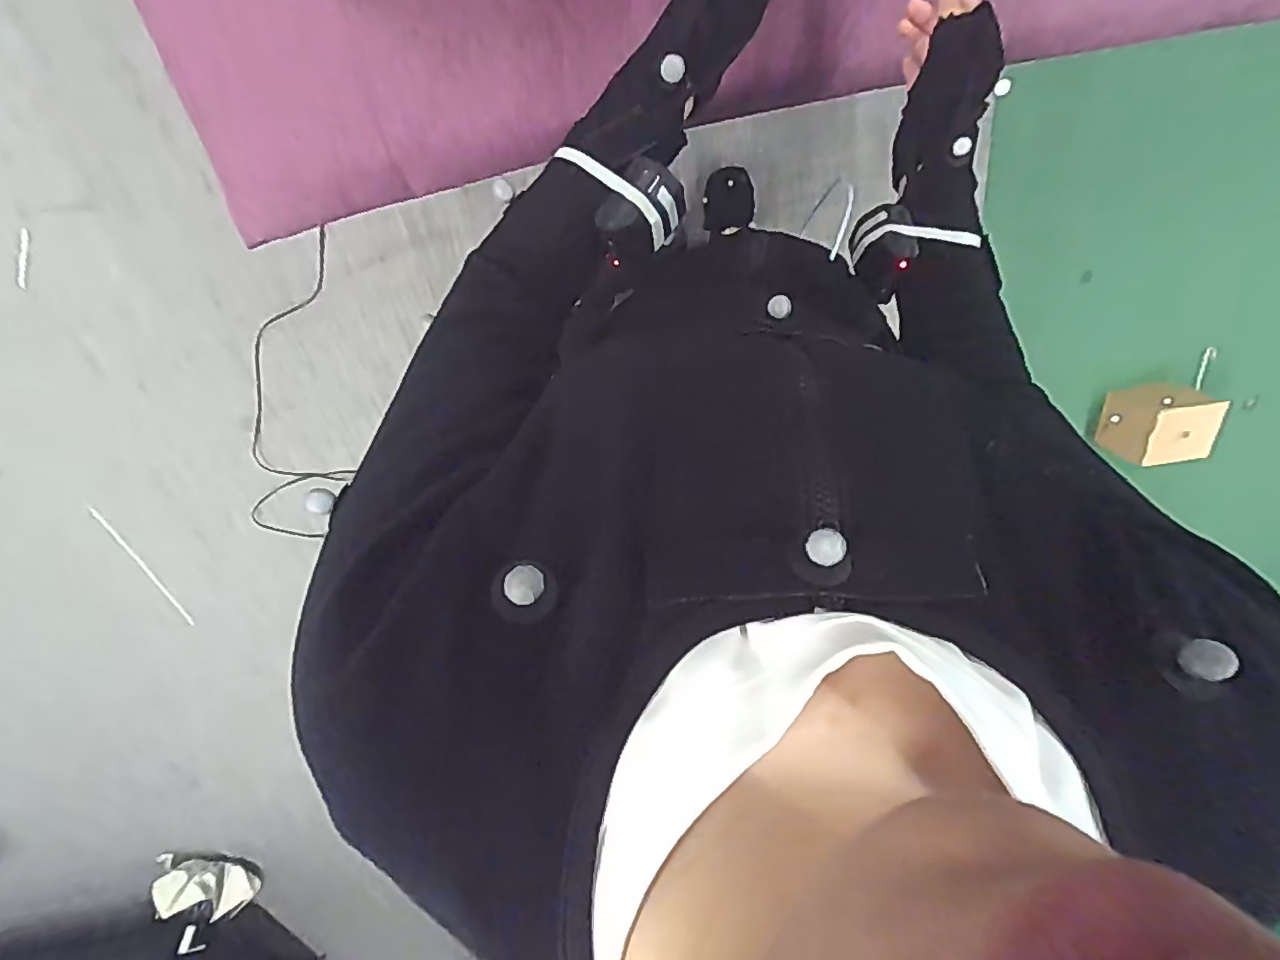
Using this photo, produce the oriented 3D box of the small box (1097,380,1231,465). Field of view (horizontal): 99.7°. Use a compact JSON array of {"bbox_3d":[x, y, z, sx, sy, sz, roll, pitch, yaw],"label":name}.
[{"bbox_3d":[1.422,-0.162,1.481,0.179,0.176,0.168,-9,119,3],"label":"small box"}]
